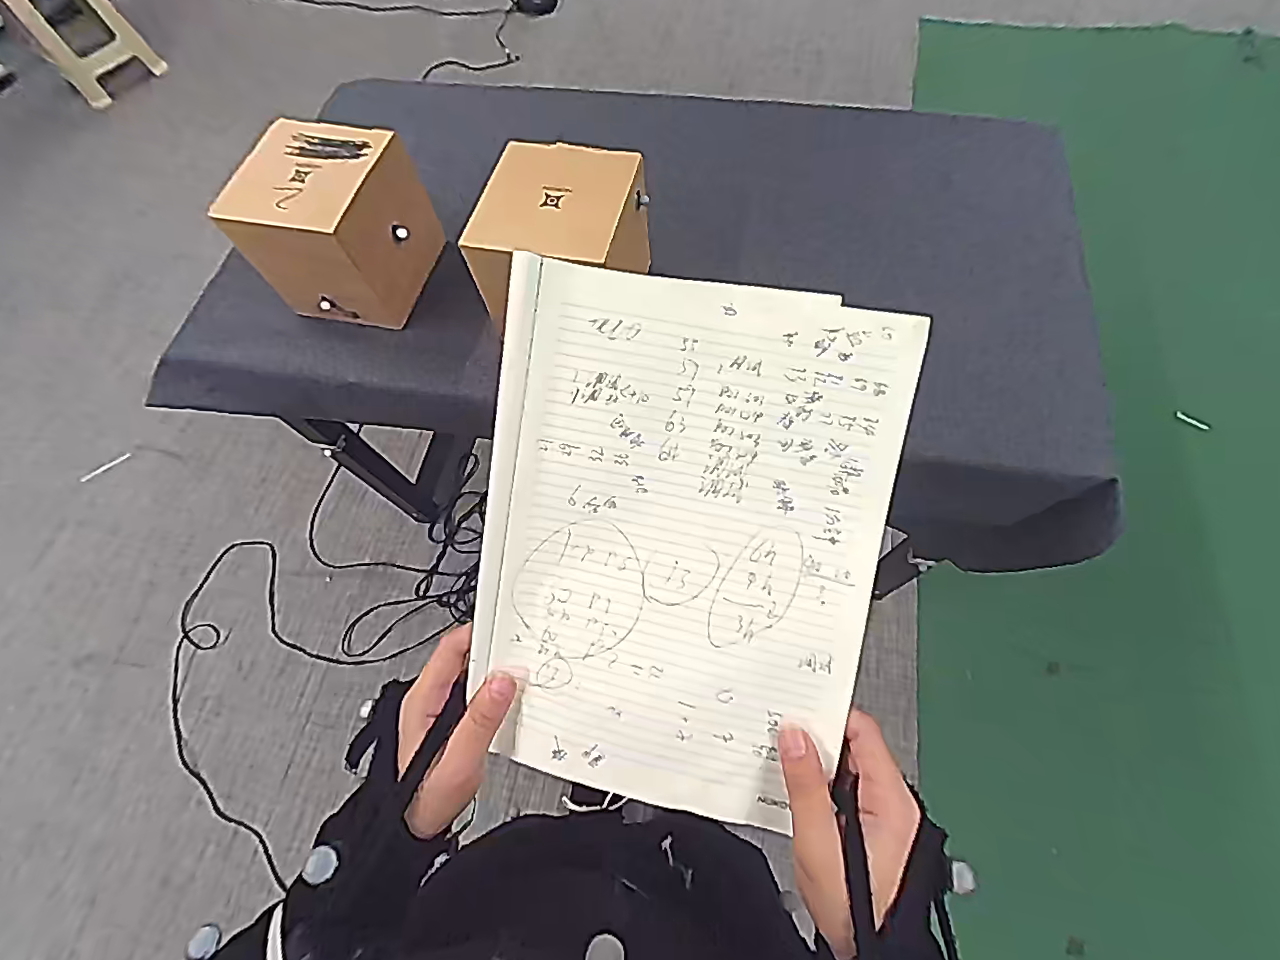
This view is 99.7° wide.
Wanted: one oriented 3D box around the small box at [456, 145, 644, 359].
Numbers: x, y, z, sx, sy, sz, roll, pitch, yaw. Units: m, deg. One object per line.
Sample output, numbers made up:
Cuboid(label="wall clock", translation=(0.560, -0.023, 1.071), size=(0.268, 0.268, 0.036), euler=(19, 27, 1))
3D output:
Cuboid(label="small box", translation=(-0.092, -0.272, 0.665), size=(0.168, 0.176, 0.179), euler=(10, 66, 9))
